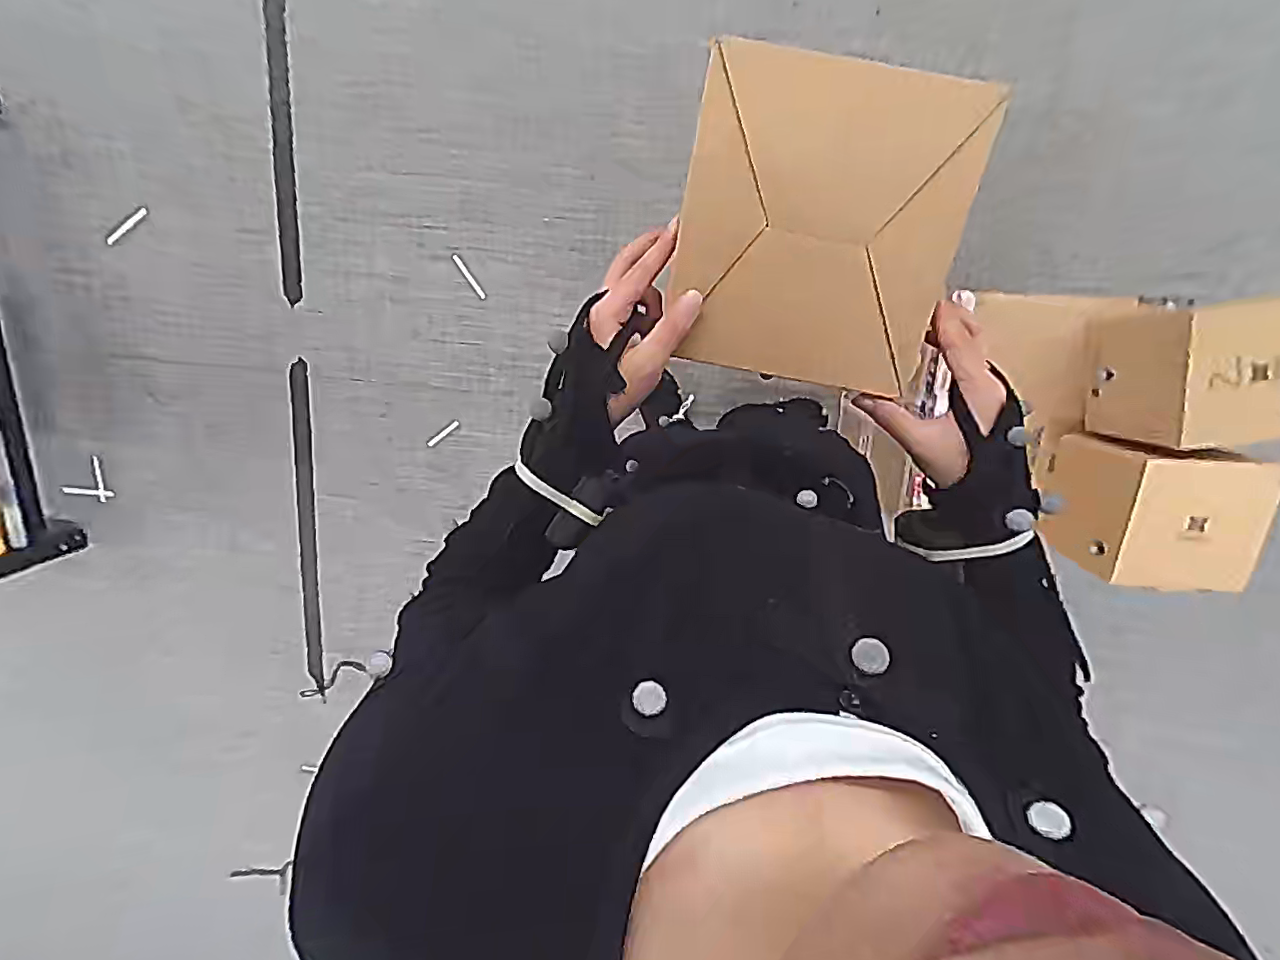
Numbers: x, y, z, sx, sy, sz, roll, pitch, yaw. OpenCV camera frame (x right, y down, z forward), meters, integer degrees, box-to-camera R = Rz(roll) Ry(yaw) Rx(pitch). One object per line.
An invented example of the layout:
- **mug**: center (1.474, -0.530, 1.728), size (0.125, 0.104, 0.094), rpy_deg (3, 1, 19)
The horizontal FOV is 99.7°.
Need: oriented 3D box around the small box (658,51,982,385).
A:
- **small box**: center (0.109, -0.176, 0.405), size (0.168, 0.176, 0.179), rpy_deg (10, 112, 0)
